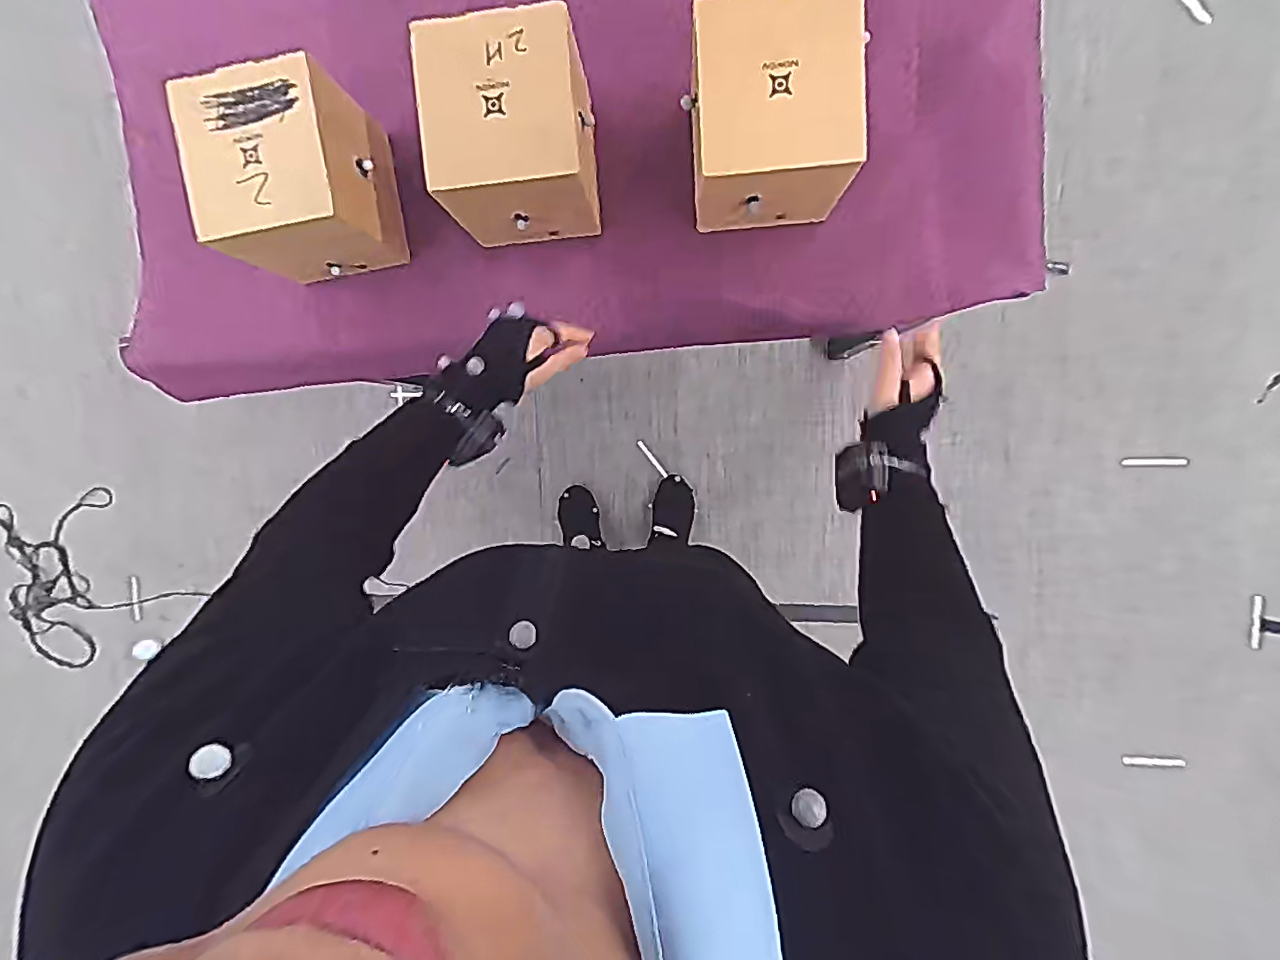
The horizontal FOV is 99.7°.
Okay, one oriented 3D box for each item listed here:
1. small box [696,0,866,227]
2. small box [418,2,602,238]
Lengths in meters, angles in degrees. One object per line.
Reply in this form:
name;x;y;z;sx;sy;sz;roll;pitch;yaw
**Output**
small box;0.150;-0.408;0.623;0.168;0.176;0.179;-3;95;5
small box;-0.141;-0.404;0.644;0.168;0.176;0.179;-4;93;3
